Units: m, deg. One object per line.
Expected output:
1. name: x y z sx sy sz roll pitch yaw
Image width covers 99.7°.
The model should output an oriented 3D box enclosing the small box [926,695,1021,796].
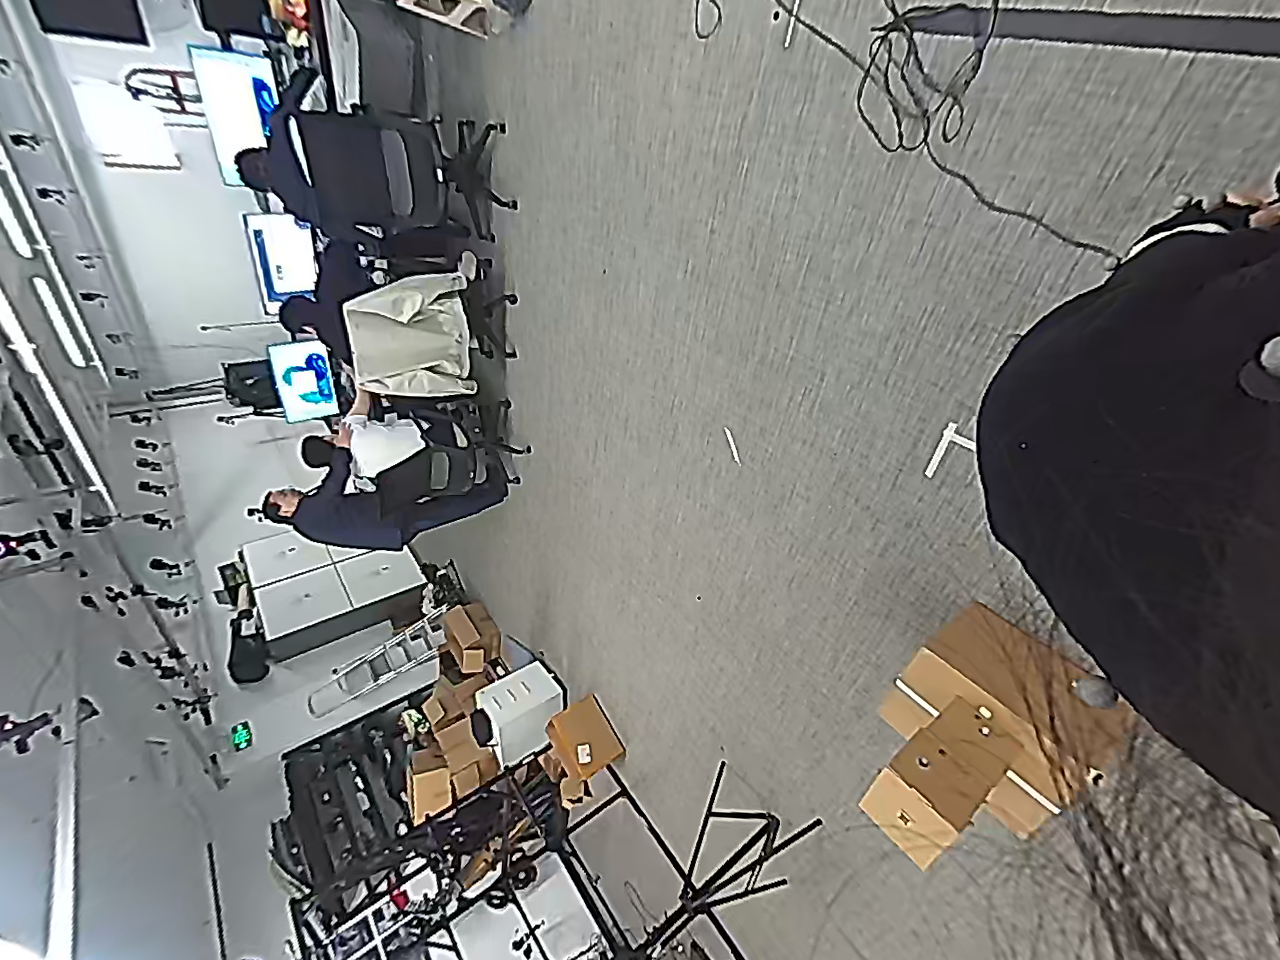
1. small box: 0.763 0.656 1.288 0.168 0.176 0.179 40 134 37

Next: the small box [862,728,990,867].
1. small box: 0.634 0.692 1.196 0.168 0.176 0.179 39 135 39
